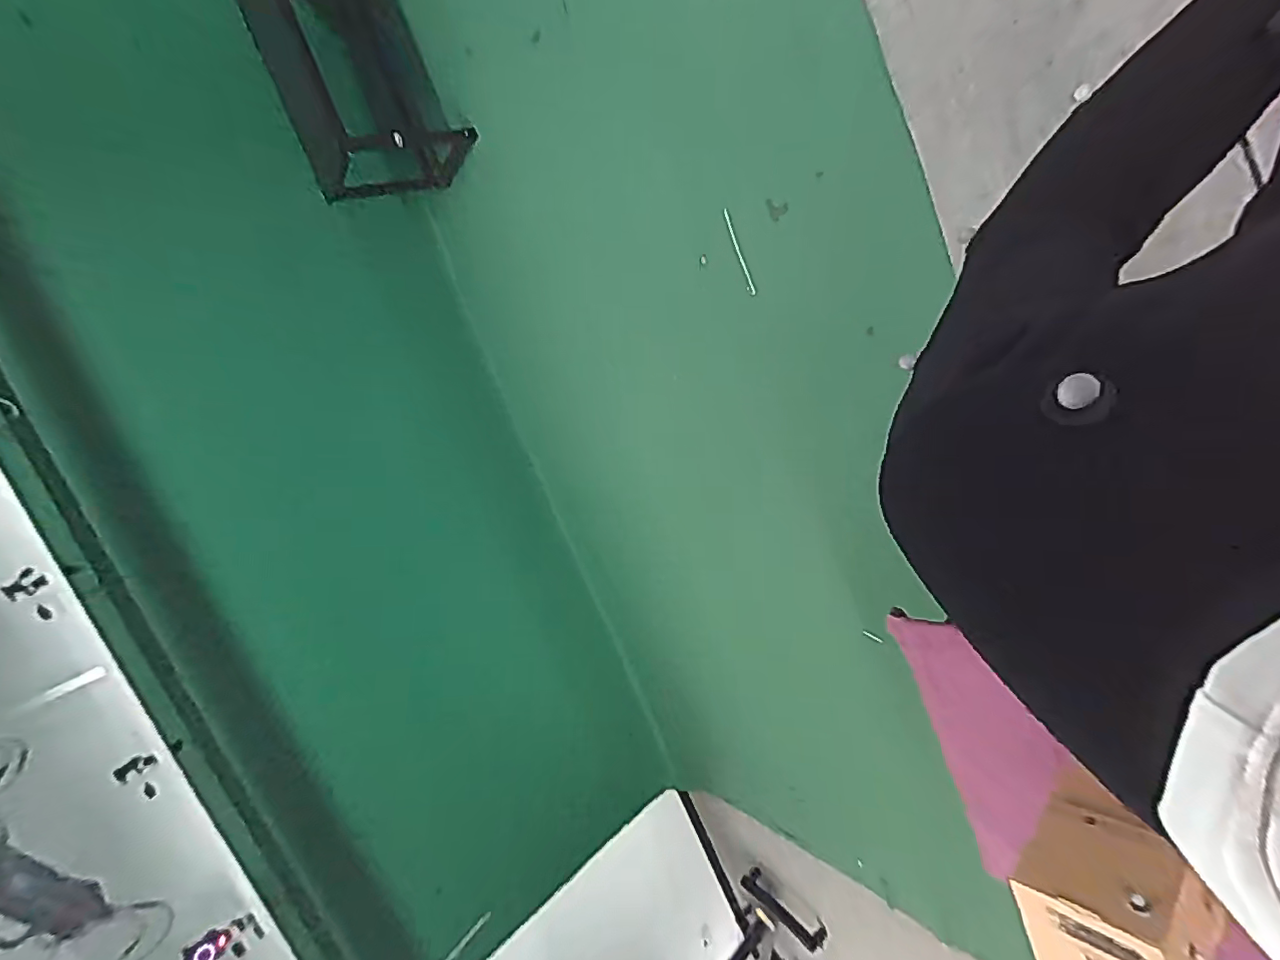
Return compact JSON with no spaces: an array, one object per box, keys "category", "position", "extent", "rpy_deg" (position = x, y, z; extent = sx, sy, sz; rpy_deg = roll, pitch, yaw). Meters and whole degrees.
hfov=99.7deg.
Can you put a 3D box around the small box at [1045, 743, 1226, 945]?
[{"category":"small box","position":[0.790,0.557,0.860],"extent":[0.179,0.176,0.168],"rpy_deg":[-7,107,56]}]
